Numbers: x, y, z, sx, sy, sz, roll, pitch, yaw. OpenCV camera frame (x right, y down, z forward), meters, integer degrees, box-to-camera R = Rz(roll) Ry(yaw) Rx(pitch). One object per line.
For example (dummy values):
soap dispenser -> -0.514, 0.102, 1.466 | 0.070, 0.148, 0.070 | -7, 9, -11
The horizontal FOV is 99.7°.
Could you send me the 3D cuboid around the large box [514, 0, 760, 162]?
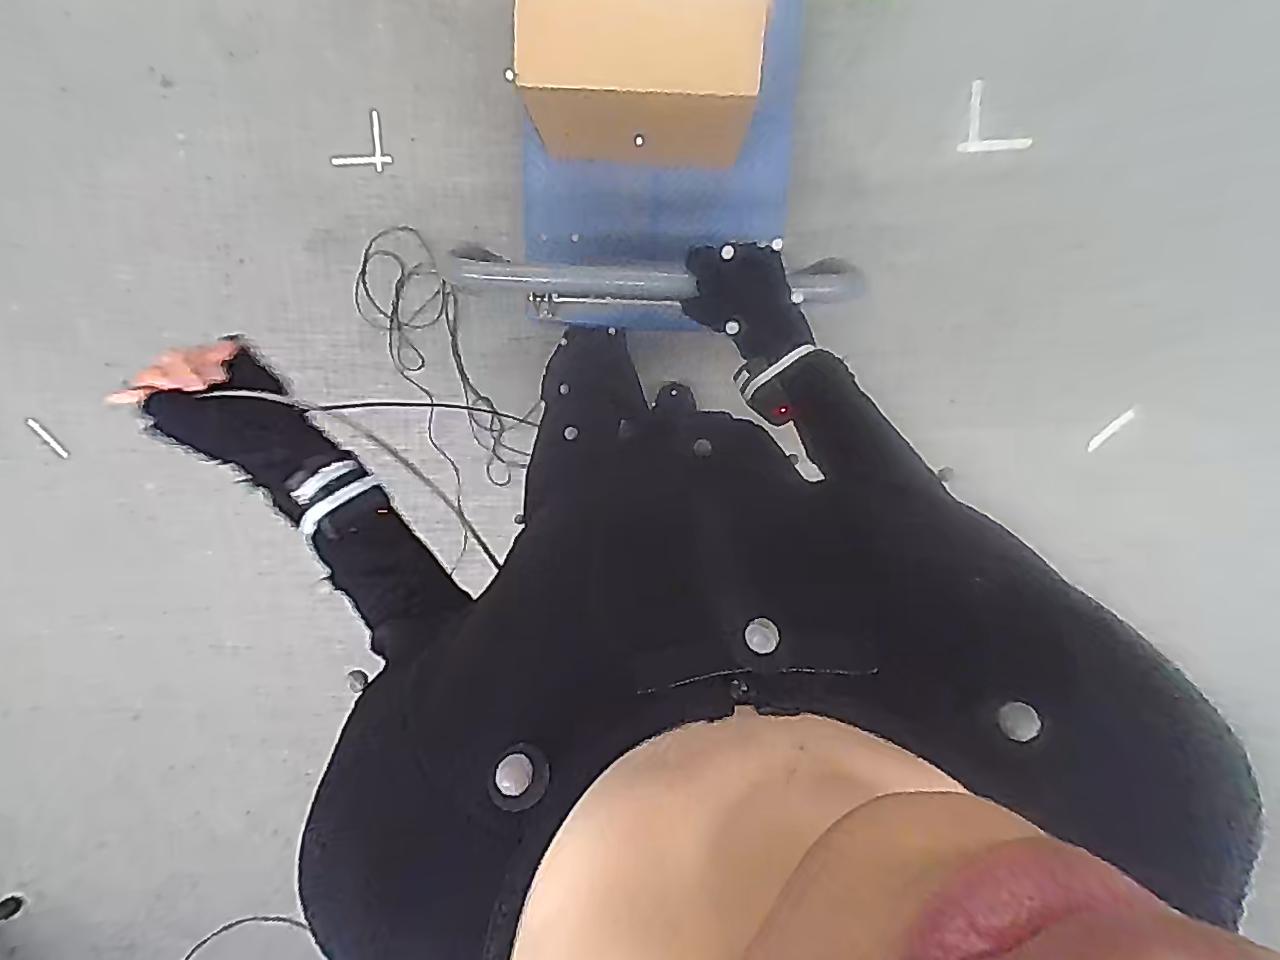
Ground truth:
large box -> 0.003, -0.814, 1.006 | 0.408, 0.320, 0.320 | 3, 101, 2
